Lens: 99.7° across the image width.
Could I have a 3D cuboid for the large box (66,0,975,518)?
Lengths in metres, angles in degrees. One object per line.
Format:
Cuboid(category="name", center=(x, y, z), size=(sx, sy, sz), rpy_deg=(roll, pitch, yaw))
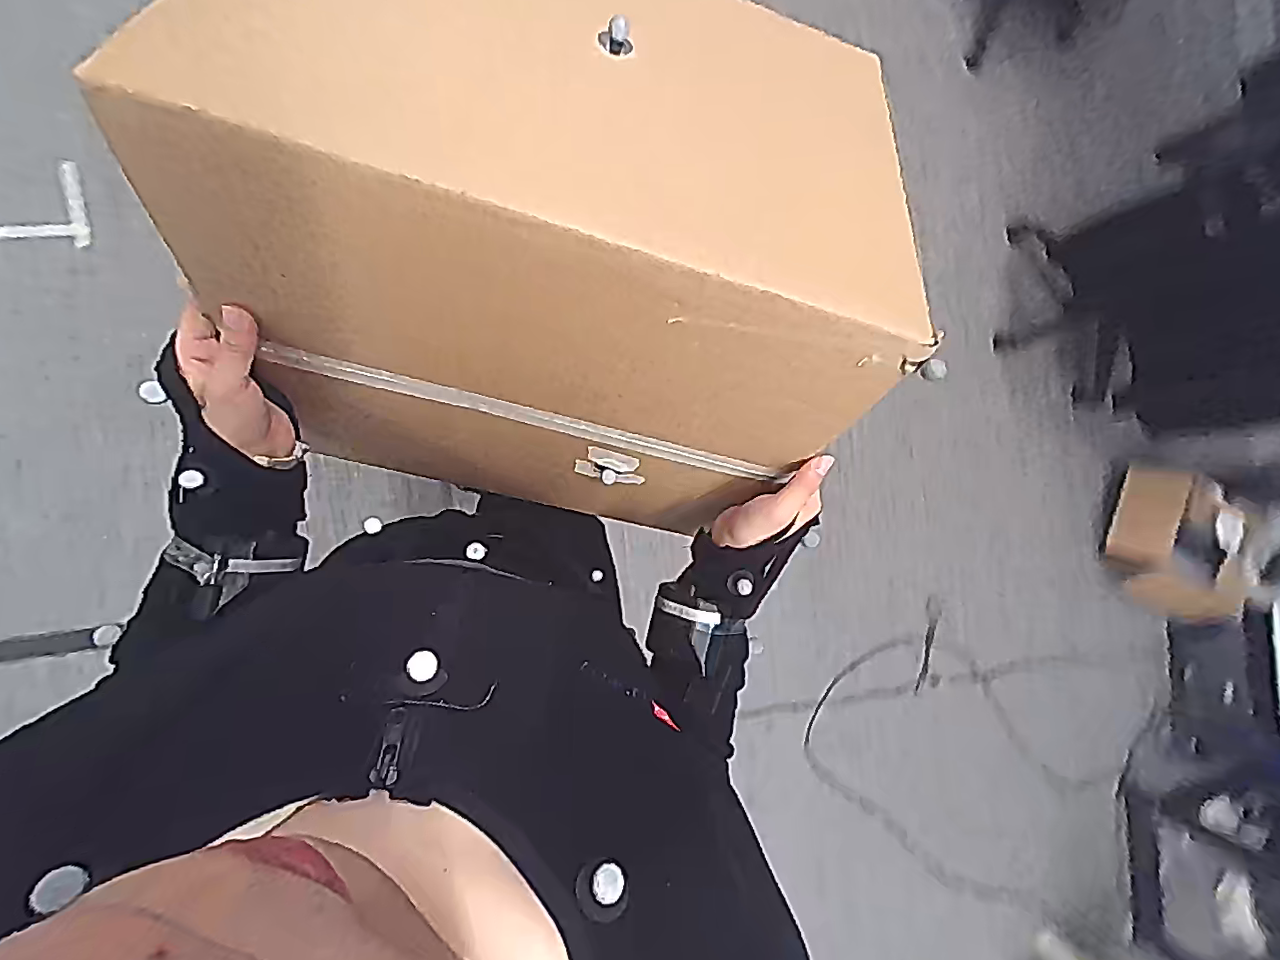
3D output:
Cuboid(category="large box", center=(-0.050, -0.197, 0.431), size=(0.408, 0.320, 0.320), rpy_deg=(11, 63, -11))
